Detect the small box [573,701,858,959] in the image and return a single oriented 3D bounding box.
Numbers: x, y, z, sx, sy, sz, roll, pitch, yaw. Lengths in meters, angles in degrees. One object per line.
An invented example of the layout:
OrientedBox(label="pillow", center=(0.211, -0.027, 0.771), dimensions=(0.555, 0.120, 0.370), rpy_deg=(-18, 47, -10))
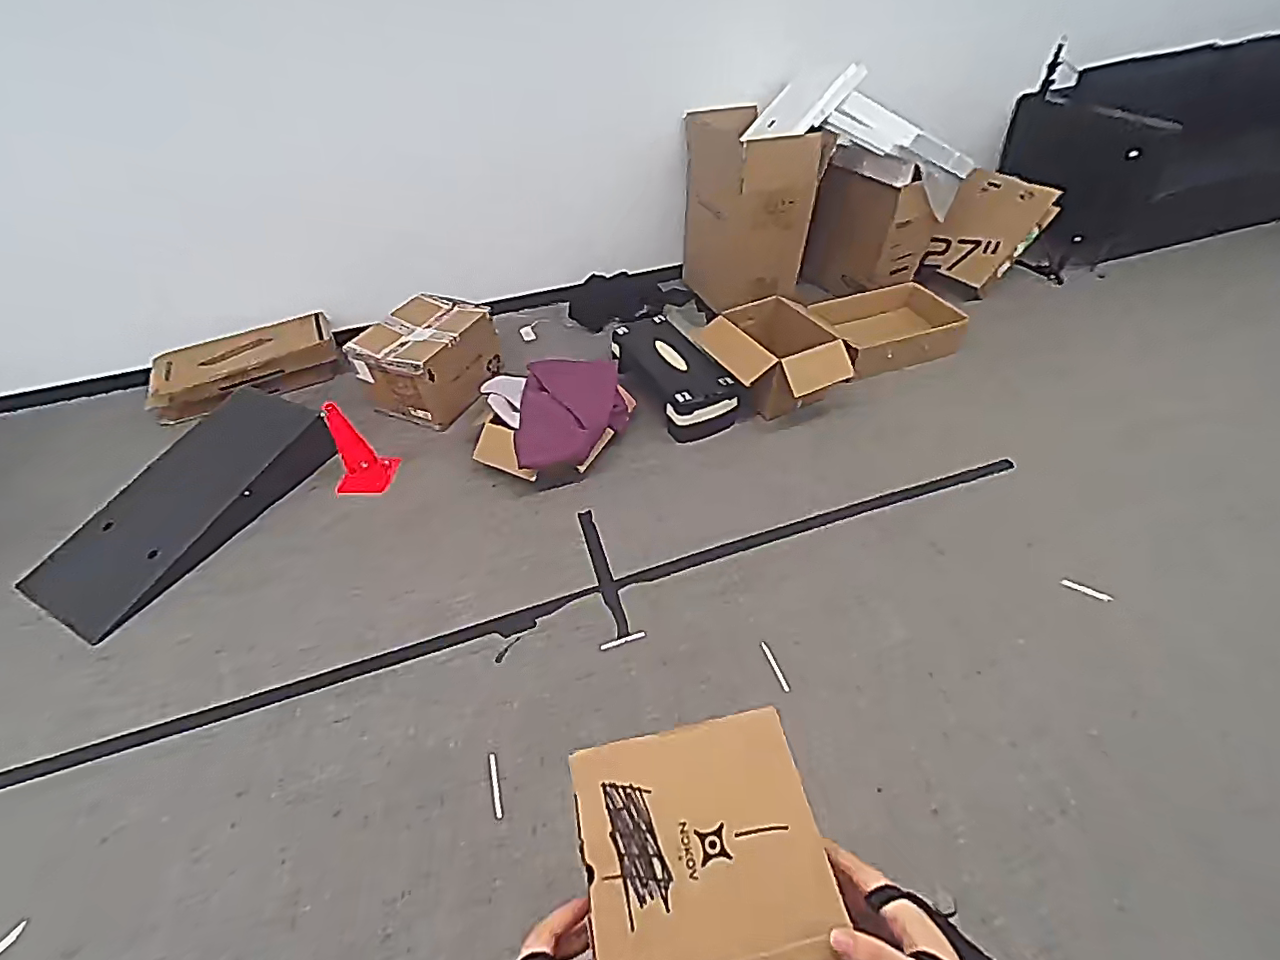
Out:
OrientedBox(label="small box", center=(0.048, 0.312, 0.459), dimensions=(0.179, 0.176, 0.168), rpy_deg=(-10, 52, -7))
